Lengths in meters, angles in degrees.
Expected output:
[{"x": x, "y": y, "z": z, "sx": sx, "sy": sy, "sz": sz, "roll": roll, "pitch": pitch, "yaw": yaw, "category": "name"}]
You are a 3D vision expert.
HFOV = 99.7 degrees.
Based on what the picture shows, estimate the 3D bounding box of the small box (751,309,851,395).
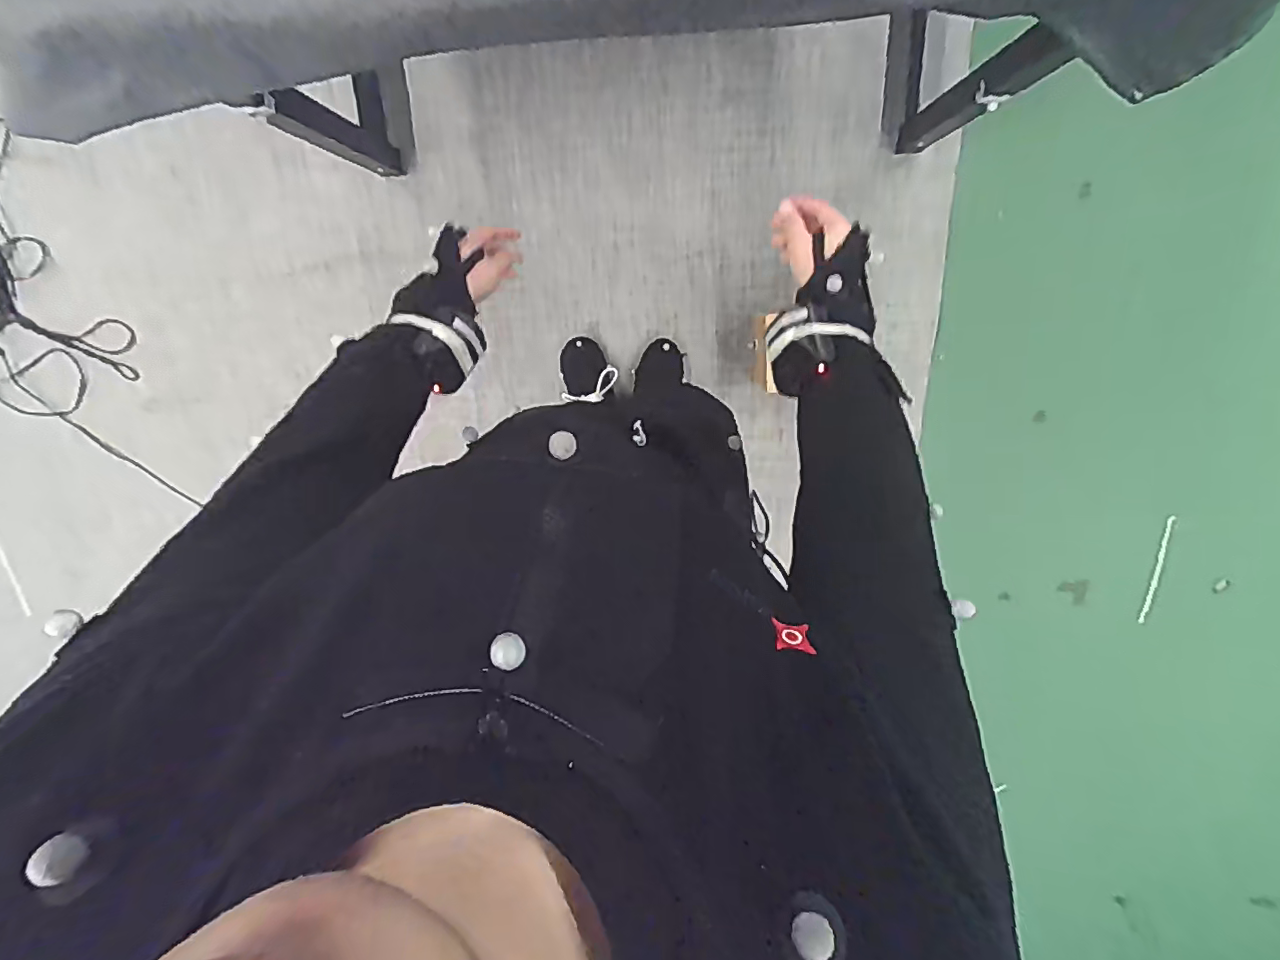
[{"x": 0.351, "y": -0.289, "z": 1.202, "sx": 0.179, "sy": 0.176, "sz": 0.168, "roll": -5, "pitch": 106, "yaw": 4, "category": "small box"}]
